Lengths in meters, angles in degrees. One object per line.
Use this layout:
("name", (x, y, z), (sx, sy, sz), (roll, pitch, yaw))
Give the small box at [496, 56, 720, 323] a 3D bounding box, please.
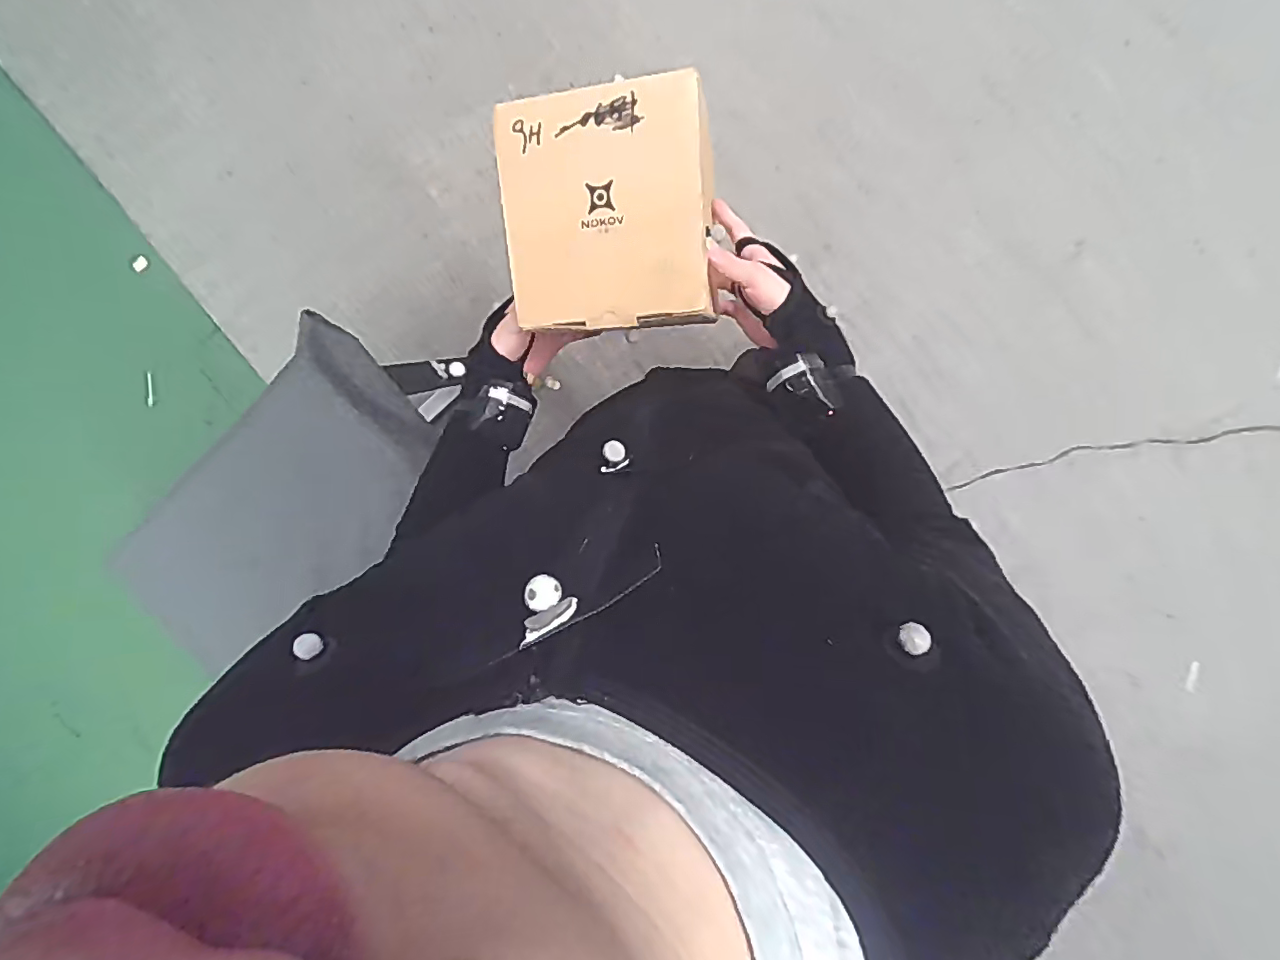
("small box", (-0.012, -0.242, 0.500), (0.168, 0.176, 0.179), (-2, 105, 10))
